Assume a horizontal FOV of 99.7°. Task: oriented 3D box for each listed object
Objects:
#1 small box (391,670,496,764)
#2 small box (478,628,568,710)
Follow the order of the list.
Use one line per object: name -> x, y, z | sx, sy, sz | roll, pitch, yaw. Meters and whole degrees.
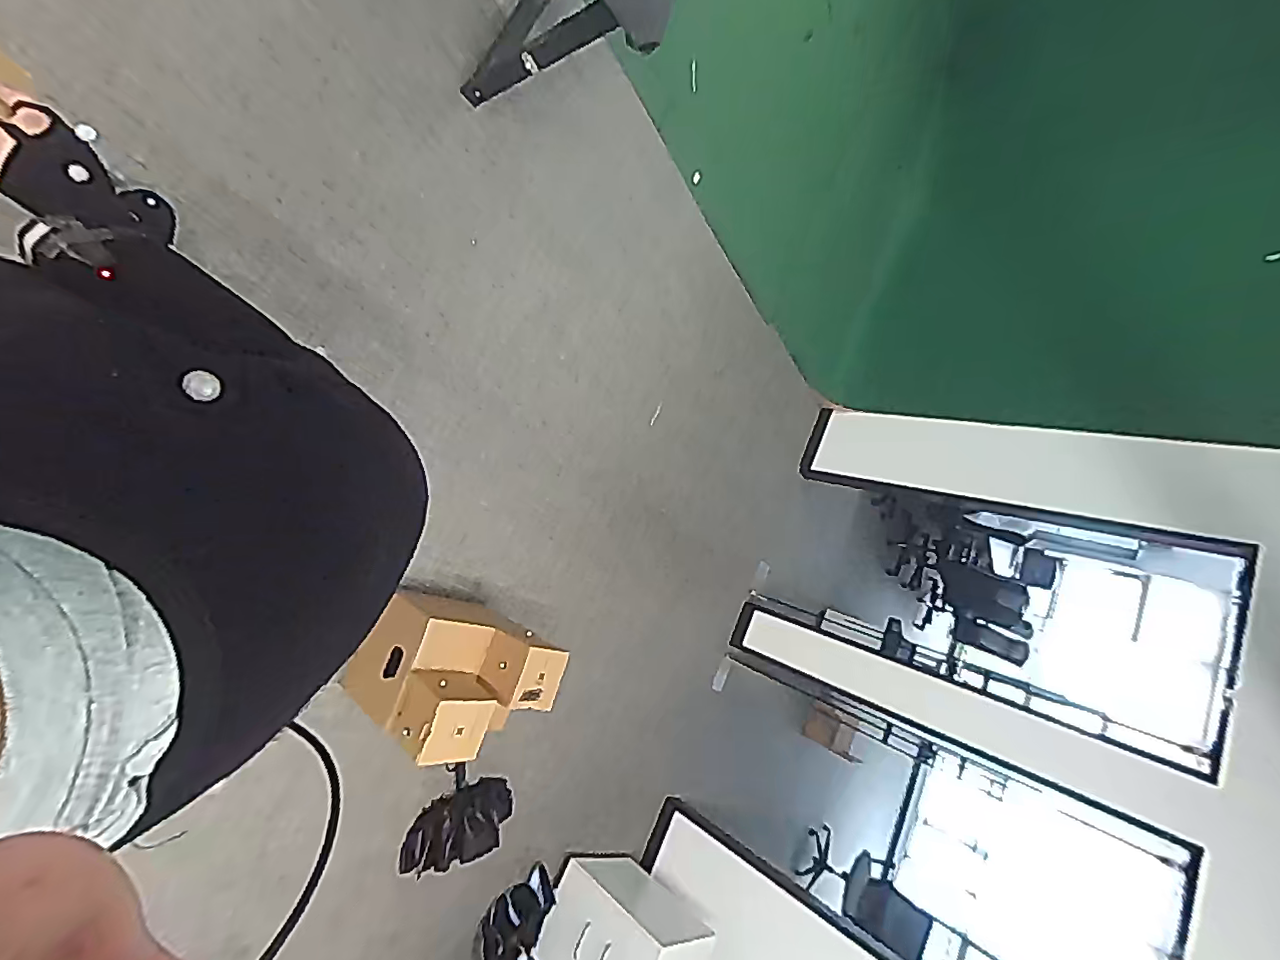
small box -> -0.519, 0.614, 1.420 | 0.179, 0.176, 0.168 | 25, 84, -50
small box -> -0.349, 0.556, 1.595 | 0.168, 0.176, 0.179 | 31, 74, -48
